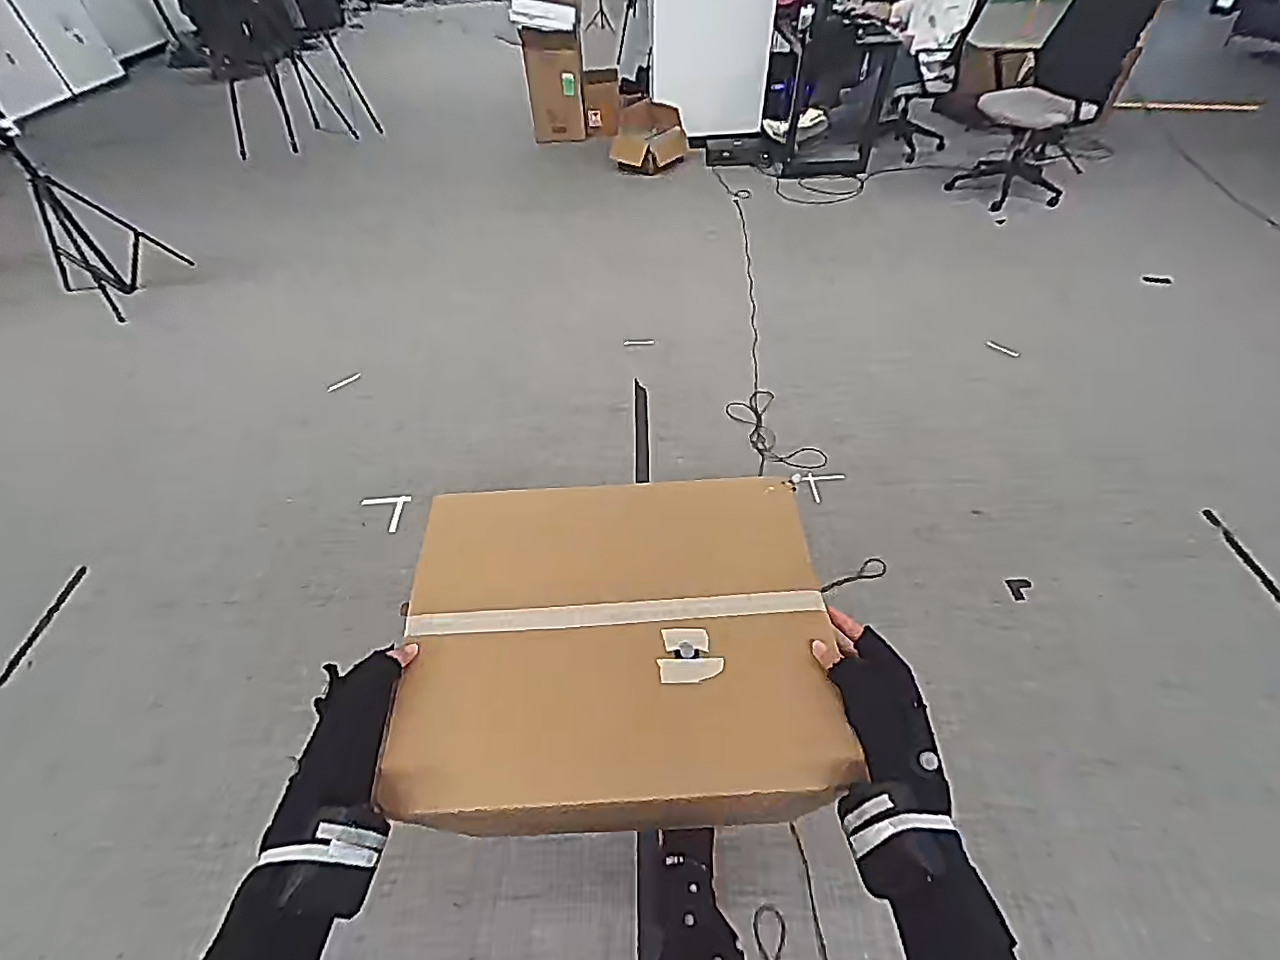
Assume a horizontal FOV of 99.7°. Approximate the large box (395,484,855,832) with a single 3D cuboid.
[{"bbox_3d":[-0.018,0.227,0.665,0.408,0.320,0.320,-3,54,-1],"label":"large box"}]
